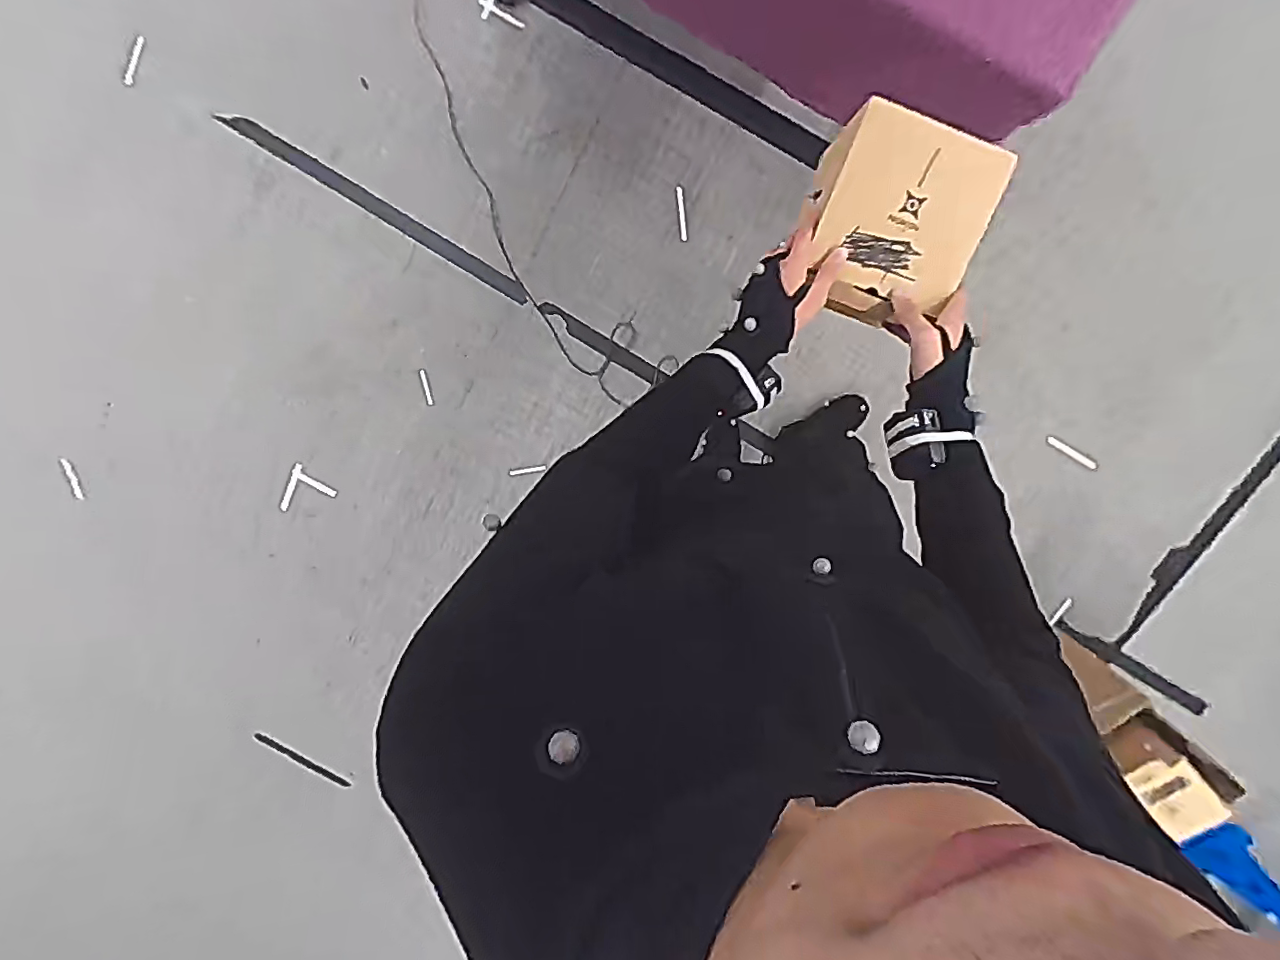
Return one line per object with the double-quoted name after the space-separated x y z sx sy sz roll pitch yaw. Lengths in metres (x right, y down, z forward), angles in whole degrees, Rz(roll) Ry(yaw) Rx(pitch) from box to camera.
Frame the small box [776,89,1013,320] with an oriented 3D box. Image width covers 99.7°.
0.272 -0.298 0.631 0.168 0.176 0.179 19 102 -3 "small box"
